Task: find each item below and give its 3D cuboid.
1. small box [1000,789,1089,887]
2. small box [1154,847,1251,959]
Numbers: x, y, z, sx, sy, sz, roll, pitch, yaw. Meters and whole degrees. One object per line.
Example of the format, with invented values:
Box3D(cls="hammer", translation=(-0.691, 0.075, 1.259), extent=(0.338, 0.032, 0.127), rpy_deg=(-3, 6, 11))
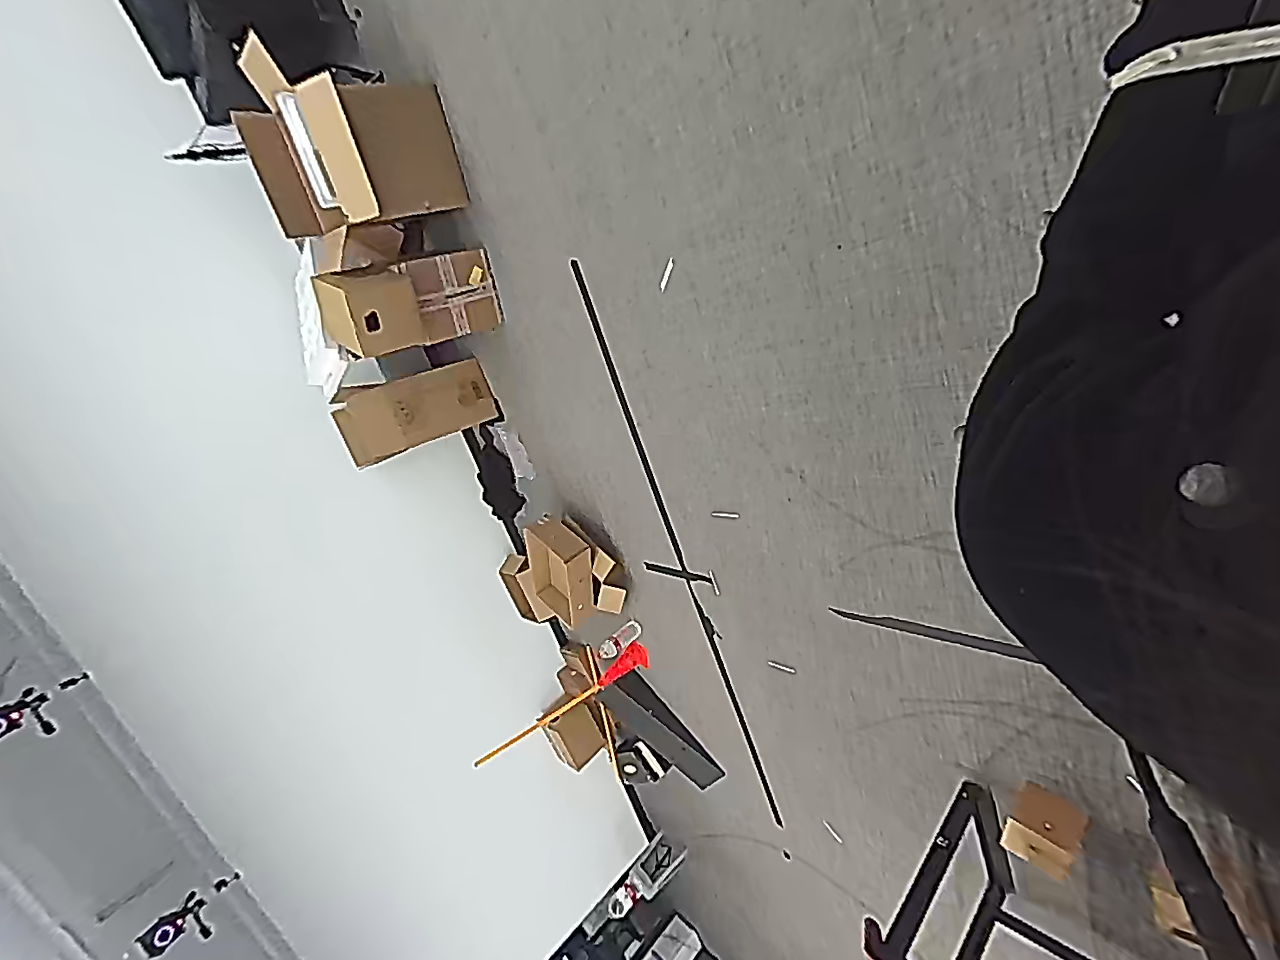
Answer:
Box3D(cls="small box", translation=(1.301, 1.139, 1.741), extent=(0.179, 0.176, 0.168), rpy_deg=(21, 130, 42))
Box3D(cls="small box", translation=(1.524, 1.159, 1.463), extent=(0.168, 0.176, 0.179), rpy_deg=(0, 114, 52))
